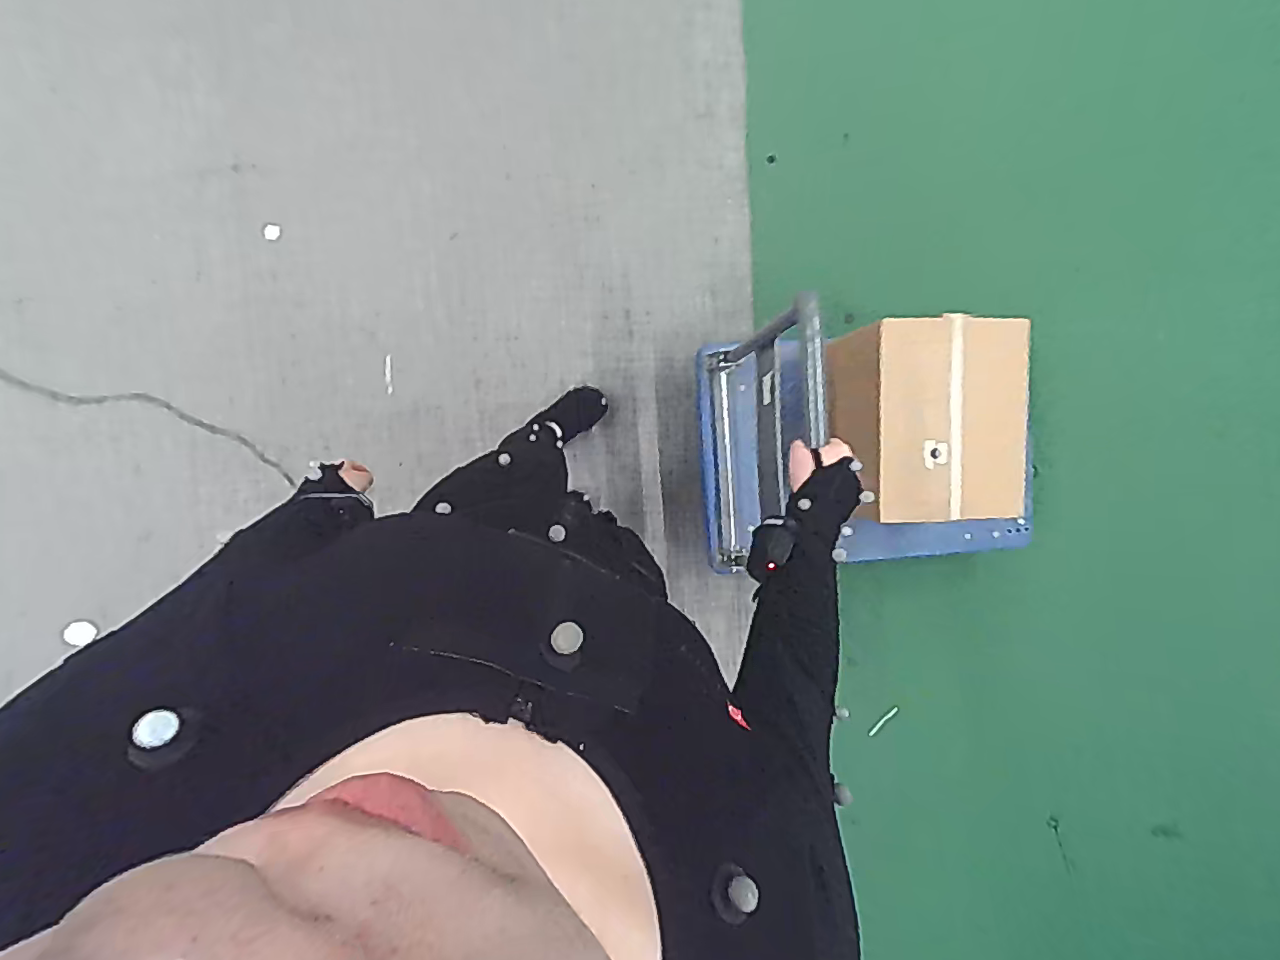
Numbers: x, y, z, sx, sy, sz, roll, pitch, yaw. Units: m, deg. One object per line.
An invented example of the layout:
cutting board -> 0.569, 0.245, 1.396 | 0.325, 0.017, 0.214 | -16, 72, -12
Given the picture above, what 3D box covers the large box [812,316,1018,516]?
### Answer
large box -> 0.604, -0.140, 1.240 | 0.320, 0.320, 0.408 | -1, 94, -5
